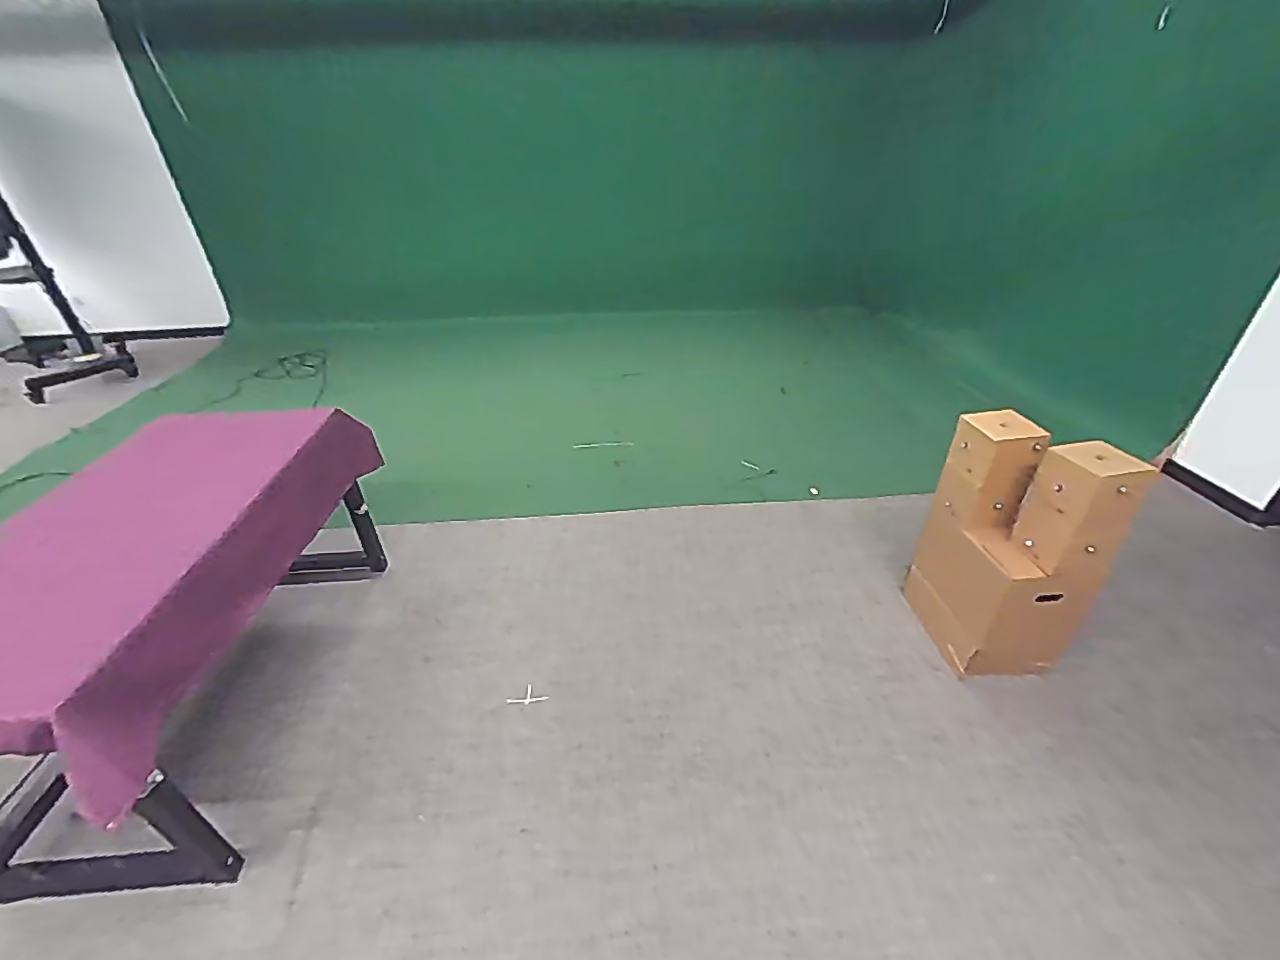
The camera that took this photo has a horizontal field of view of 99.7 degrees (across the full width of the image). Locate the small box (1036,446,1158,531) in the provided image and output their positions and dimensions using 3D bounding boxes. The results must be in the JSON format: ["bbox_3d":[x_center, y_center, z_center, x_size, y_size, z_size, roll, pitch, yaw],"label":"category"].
[{"bbox_3d":[1.228,0.024,1.476,0.179,0.176,0.168,-6,33,-8],"label":"small box"}]

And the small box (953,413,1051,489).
[{"bbox_3d":[1.091,-0.087,1.651,0.179,0.176,0.168,-6,35,-5],"label":"small box"}]
